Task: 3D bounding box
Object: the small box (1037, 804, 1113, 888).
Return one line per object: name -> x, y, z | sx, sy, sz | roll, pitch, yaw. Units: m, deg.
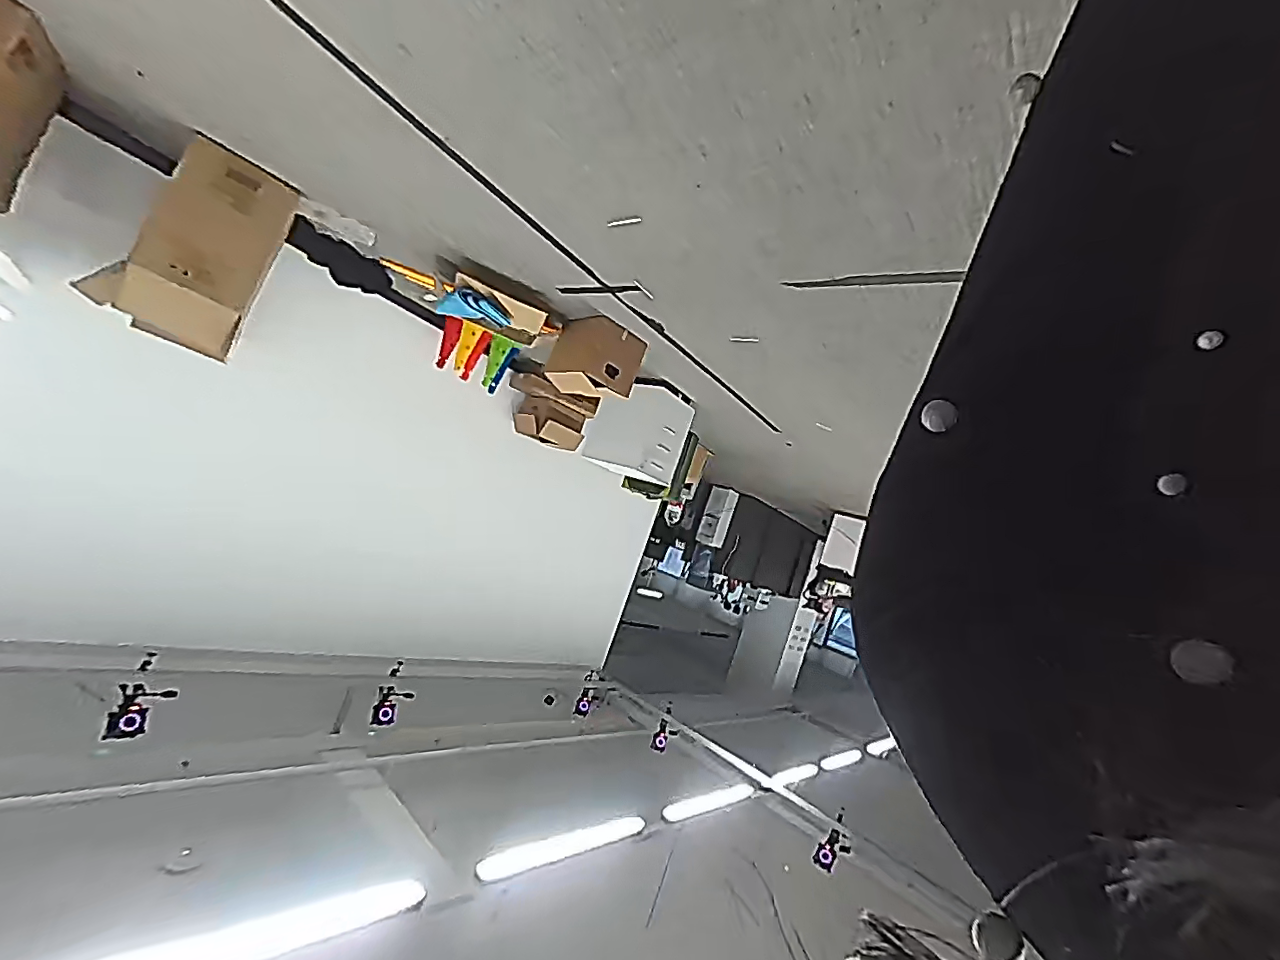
small box -> 1.486, 1.240, 1.845 | 0.179, 0.176, 0.168 | 25, 174, -42
